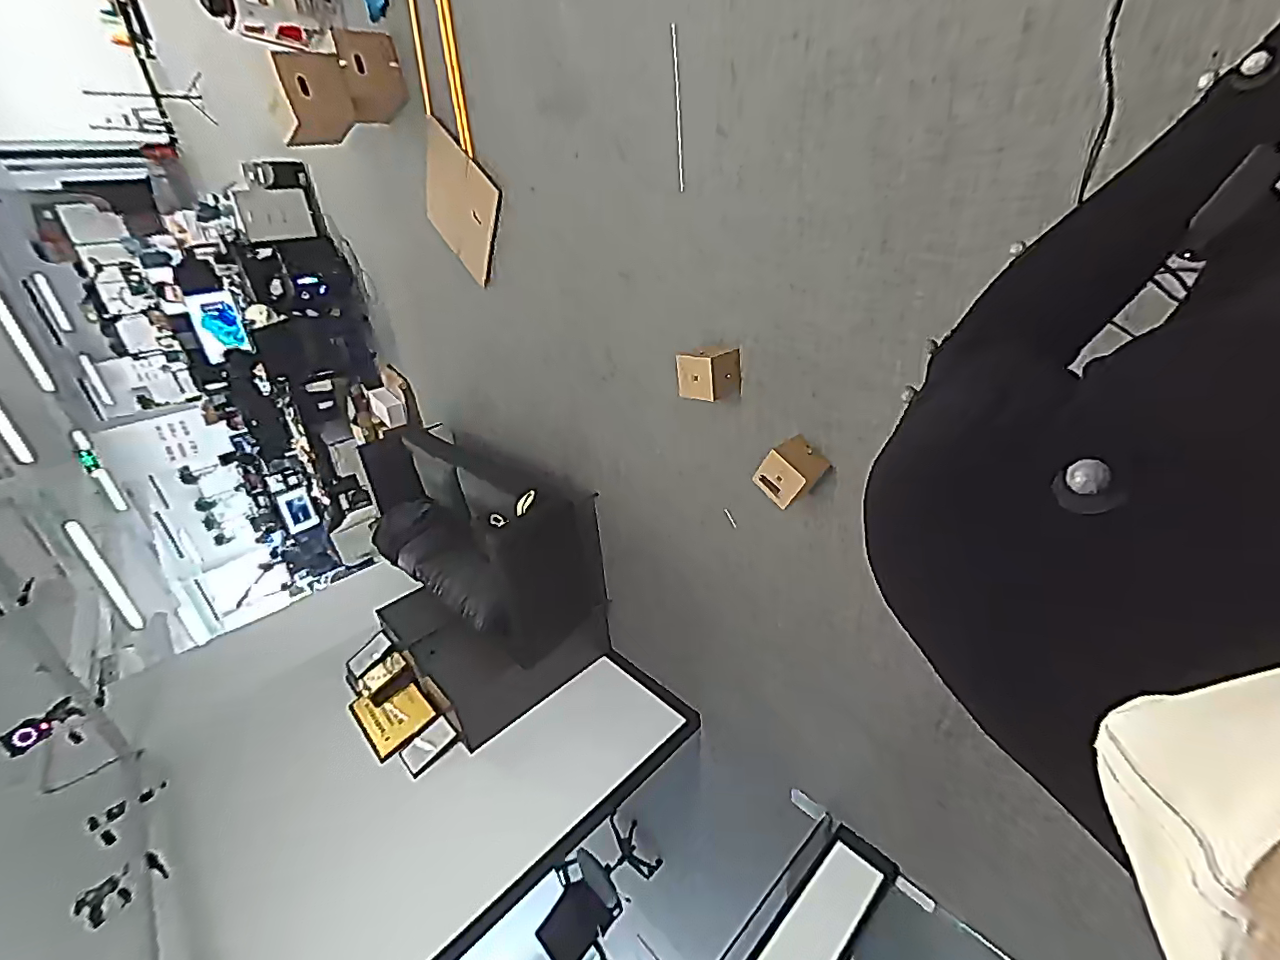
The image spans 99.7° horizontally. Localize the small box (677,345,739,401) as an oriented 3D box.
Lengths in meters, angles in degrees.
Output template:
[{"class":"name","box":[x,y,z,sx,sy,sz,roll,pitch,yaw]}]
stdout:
[{"class":"small box","box":[0.267,-0.415,2.072,0.179,0.176,0.168,19,125,44]}]
